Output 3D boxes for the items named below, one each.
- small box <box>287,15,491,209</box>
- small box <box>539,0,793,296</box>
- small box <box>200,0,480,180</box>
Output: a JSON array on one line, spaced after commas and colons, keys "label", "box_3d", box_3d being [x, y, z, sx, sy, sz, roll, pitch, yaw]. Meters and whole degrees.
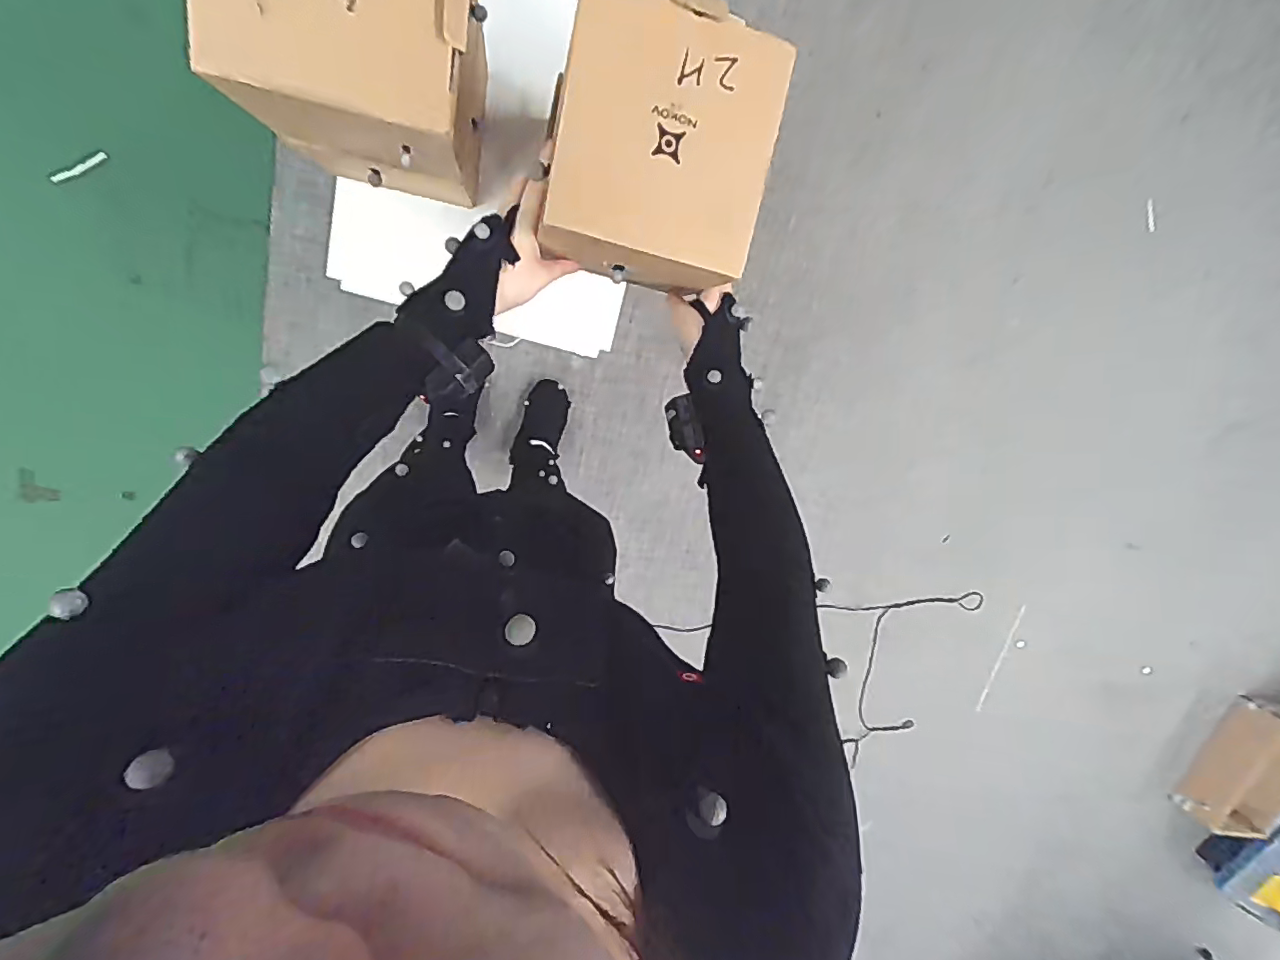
[{"label": "small box", "box_3d": [-0.272, -0.423, 0.614, 0.179, 0.176, 0.168, 7, 107, -15]}, {"label": "small box", "box_3d": [0.006, -0.276, 0.489, 0.168, 0.176, 0.179, 10, 101, -17]}, {"label": "small box", "box_3d": [-0.235, -0.375, 0.462, 0.179, 0.176, 0.168, 5, 106, -15]}]
